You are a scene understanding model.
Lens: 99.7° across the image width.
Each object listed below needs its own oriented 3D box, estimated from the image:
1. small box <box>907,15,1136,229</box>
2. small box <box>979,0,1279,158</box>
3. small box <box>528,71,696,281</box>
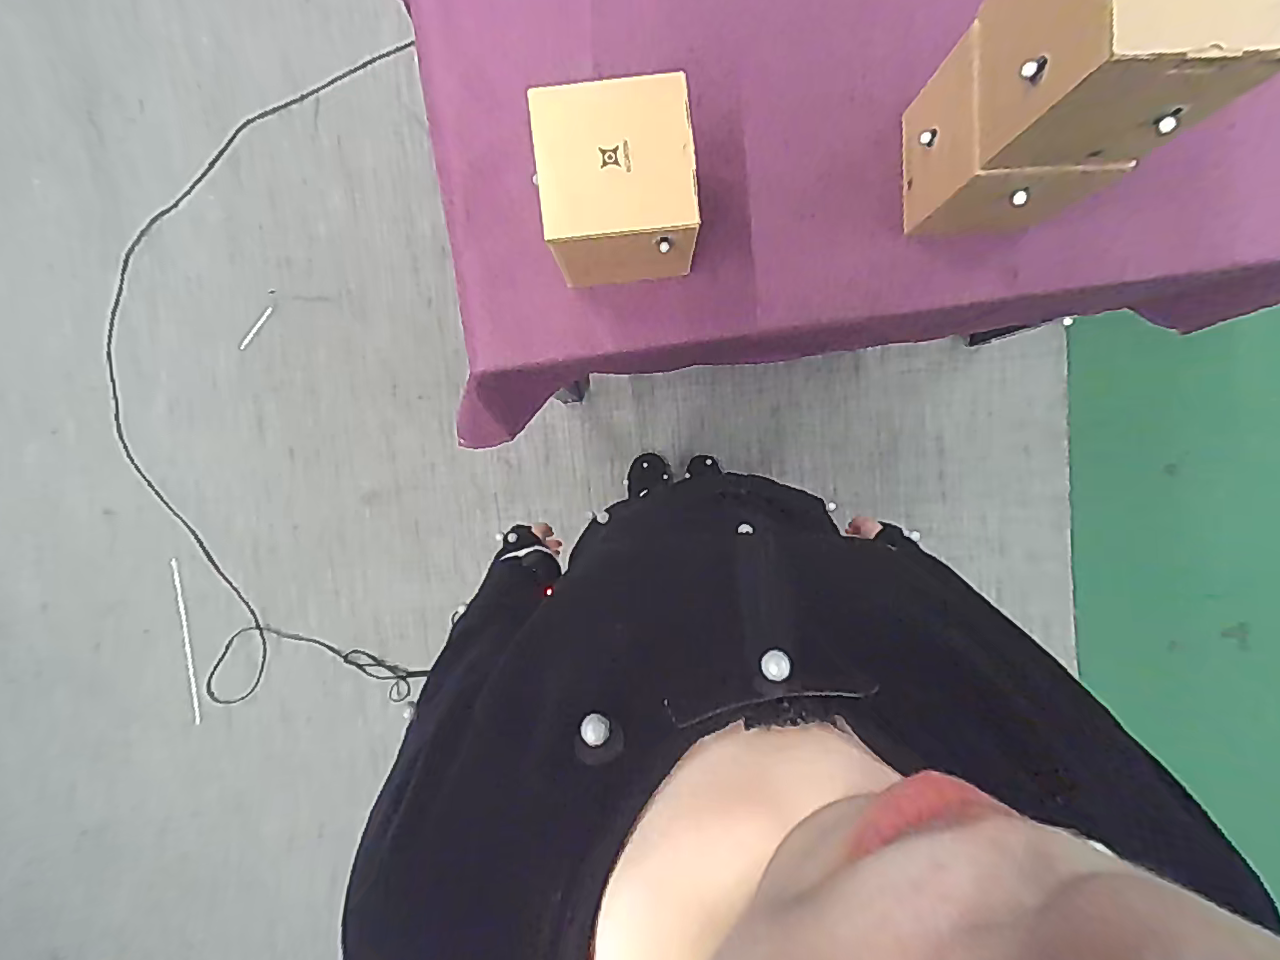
[{"bbox_3d":[0.445,-0.422,0.659,0.179,0.176,0.168,-2,94,2],"label":"small box"},{"bbox_3d":[0.441,-0.422,0.496,0.168,0.176,0.179,-1,93,1],"label":"small box"},{"bbox_3d":[-0.028,-0.361,0.676,0.179,0.176,0.168,-6,93,1],"label":"small box"}]
